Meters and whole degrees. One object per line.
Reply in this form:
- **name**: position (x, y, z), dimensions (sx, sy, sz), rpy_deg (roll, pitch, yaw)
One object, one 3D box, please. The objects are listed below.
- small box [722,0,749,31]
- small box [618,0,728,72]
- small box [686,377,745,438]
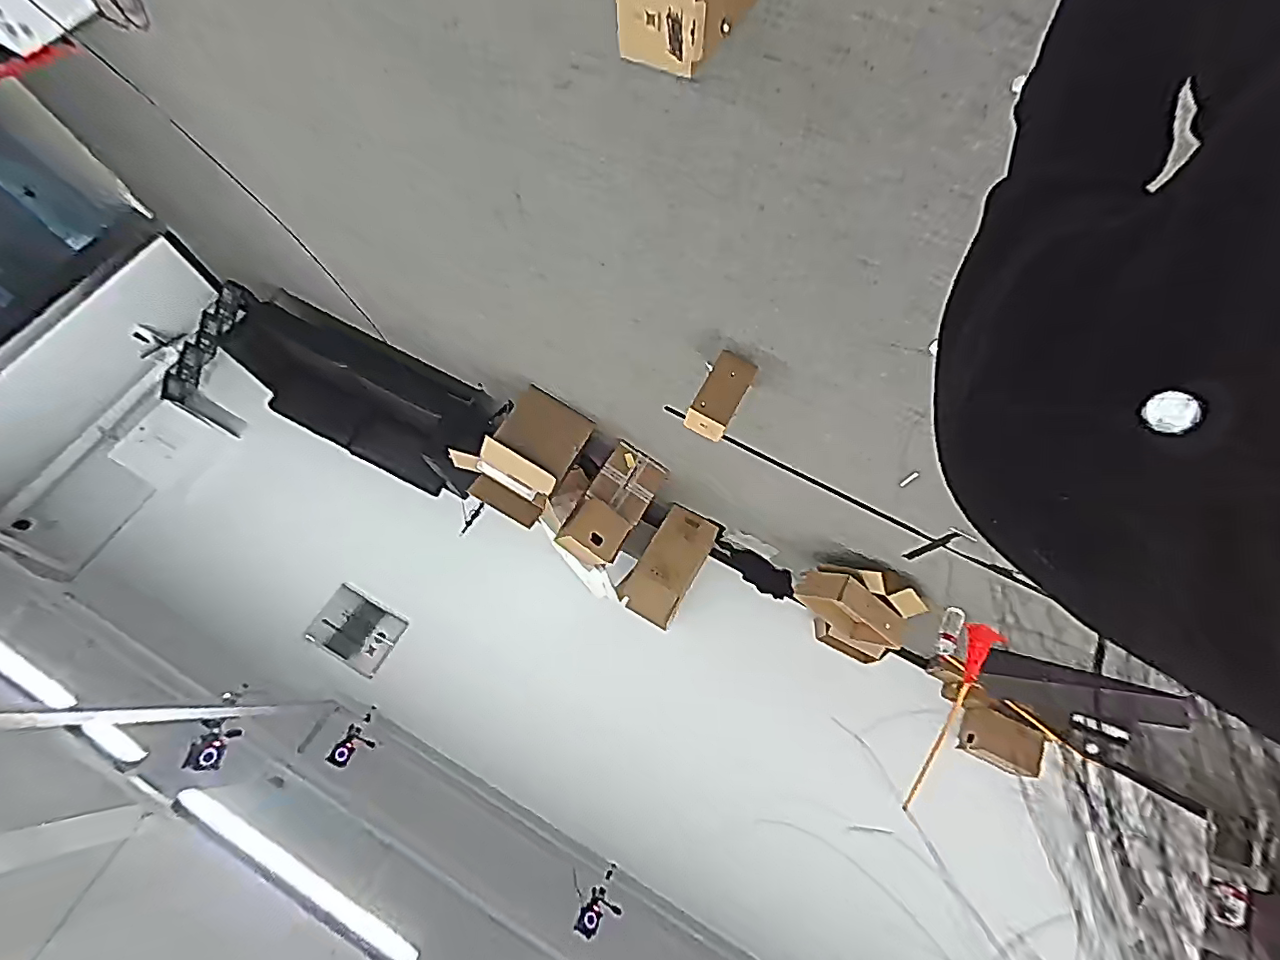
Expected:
- **small box**: position (0.152, -1.097, 1.131), dimensions (0.179, 0.176, 0.168), rpy_deg (27, 160, 14)
- **small box**: position (0.072, -0.965, 1.072), dimensions (0.179, 0.176, 0.168), rpy_deg (27, 160, 13)
- **small box**: position (0.322, -0.317, 2.312), dimensions (0.179, 0.176, 0.168), rpy_deg (28, 162, 5)
